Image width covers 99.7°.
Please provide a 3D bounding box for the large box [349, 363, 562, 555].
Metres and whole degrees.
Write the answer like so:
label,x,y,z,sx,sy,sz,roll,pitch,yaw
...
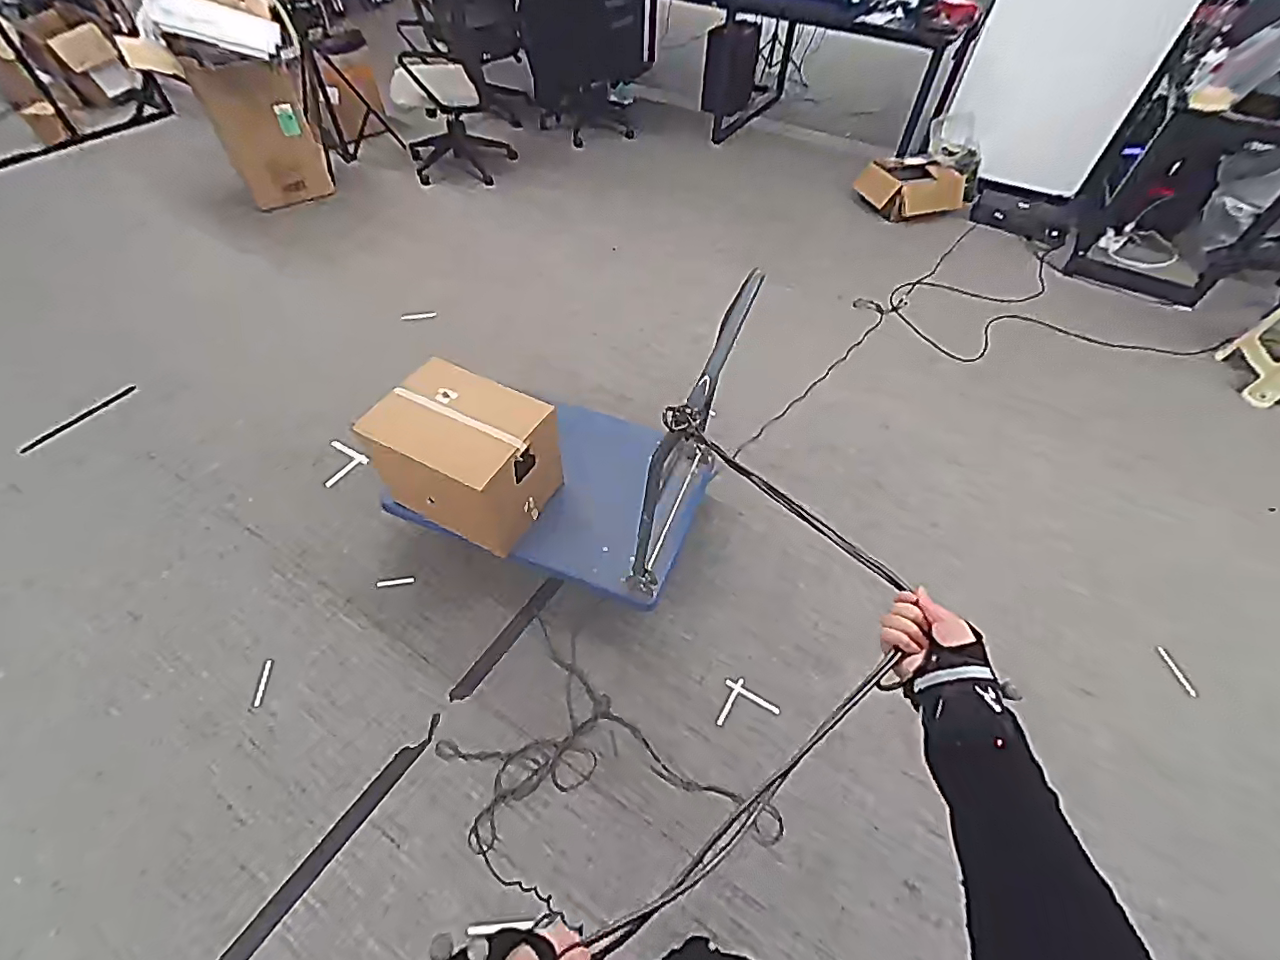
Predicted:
label,x,y,z,sx,sy,sz,roll,pitch,yaw
large box,-0.470,-0.056,1.470,0.408,0.320,0.320,22,54,16
